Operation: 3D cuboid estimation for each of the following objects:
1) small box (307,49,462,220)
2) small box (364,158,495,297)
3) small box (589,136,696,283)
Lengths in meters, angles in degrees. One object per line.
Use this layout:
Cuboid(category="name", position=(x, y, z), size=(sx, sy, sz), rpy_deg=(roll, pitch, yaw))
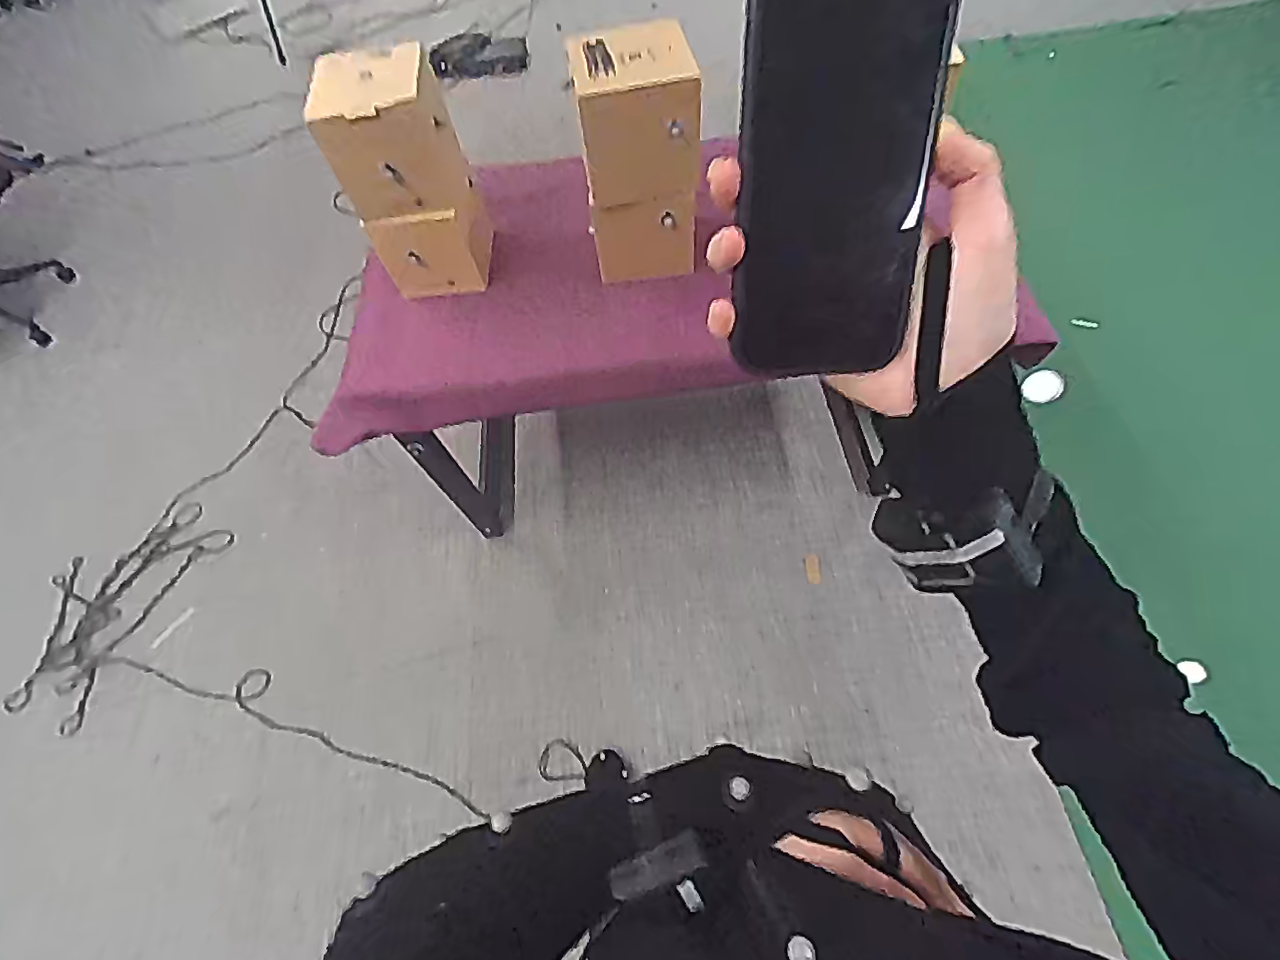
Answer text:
Cuboid(category="small box", position=(-0.399, -0.548, 0.877), size=(0.168, 0.176, 0.179), rpy_deg=(-10, 62, 0))
Cuboid(category="small box", position=(-0.383, -0.463, 1.017), size=(0.168, 0.176, 0.179), rpy_deg=(-5, 61, 3))
Cuboid(category="small box", position=(0.006, -0.486, 0.986), size=(0.179, 0.176, 0.168), rpy_deg=(-6, 61, 3))
